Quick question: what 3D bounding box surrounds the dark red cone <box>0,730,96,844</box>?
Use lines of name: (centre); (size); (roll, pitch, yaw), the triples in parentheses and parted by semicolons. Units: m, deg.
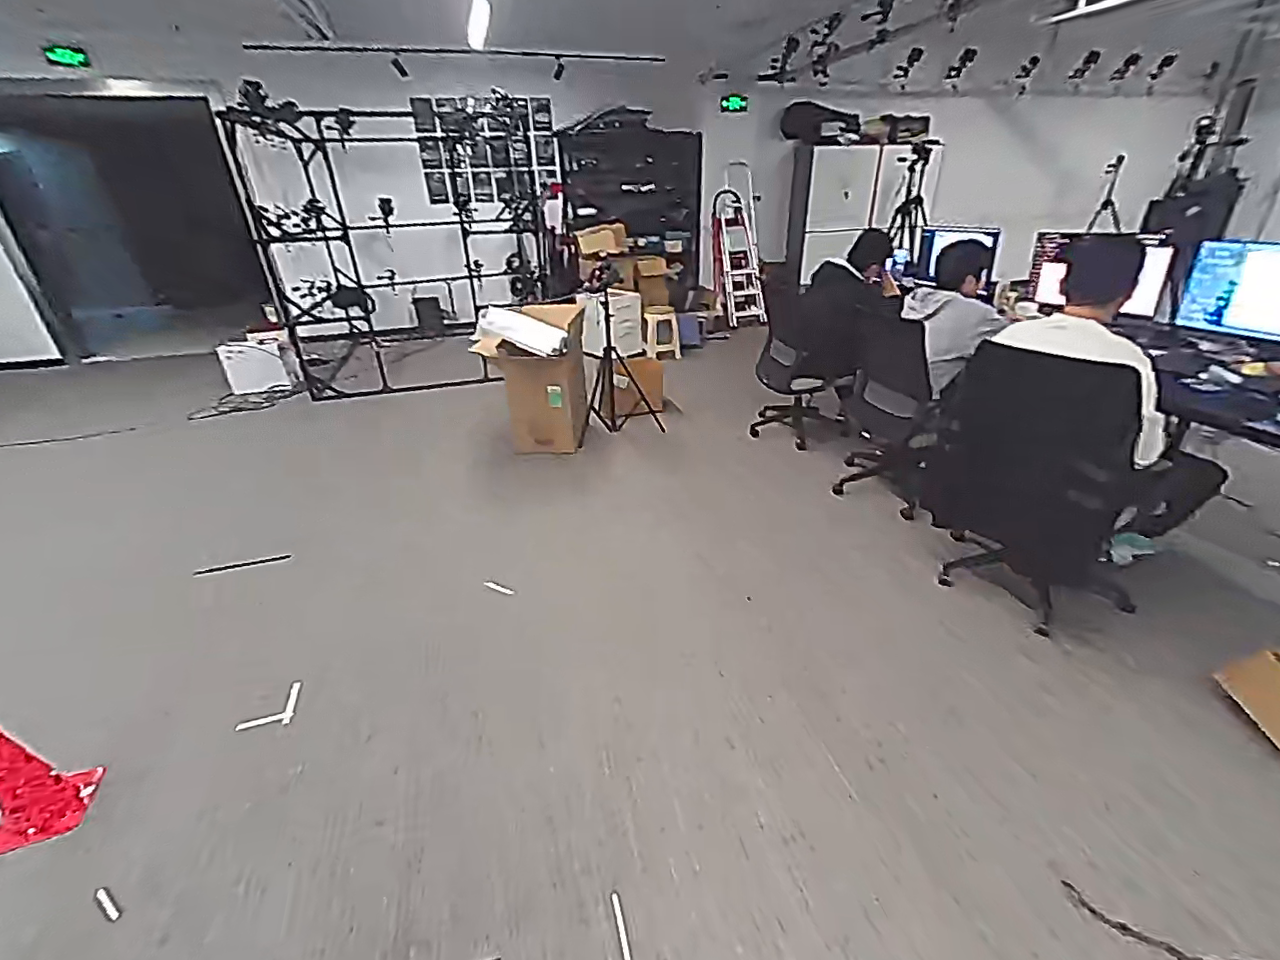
dark red cone: (-1.619, 0.726, 1.375); (0.202, 0.394, 0.201); (-13, 31, -19)
